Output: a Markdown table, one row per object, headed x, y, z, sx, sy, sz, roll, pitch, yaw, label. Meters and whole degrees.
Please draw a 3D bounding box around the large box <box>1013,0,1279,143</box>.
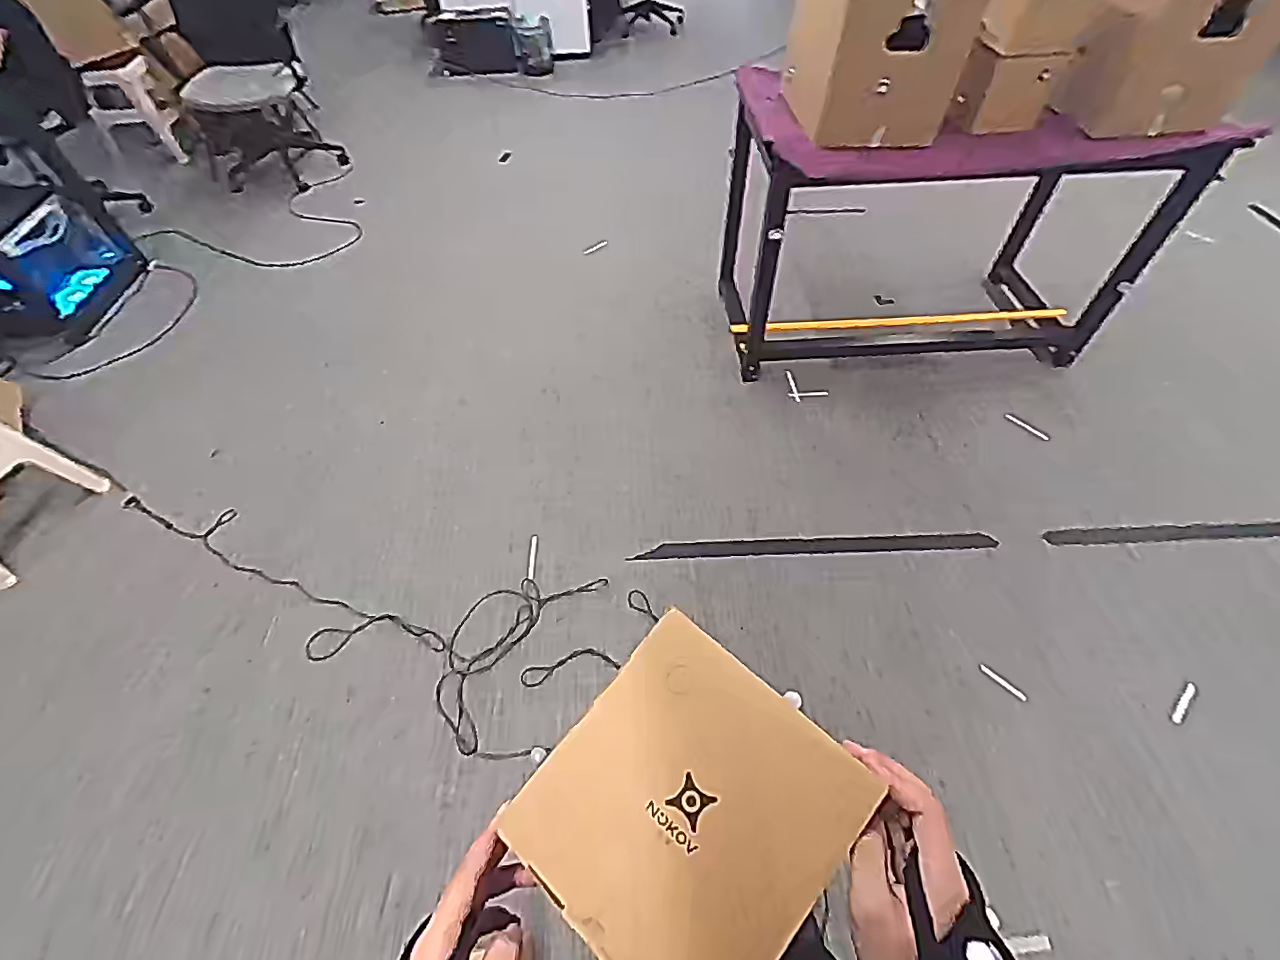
| x | y | z | sx | sy | sz | roll | pitch | yaw | label |
| --- | --- | --- | --- | --- | --- | --- | --- | --- | --- |
| 1.266 | -1.109 | 1.377 | 0.320 | 0.320 | 0.408 | -3 | 51 | -1 | large box |
